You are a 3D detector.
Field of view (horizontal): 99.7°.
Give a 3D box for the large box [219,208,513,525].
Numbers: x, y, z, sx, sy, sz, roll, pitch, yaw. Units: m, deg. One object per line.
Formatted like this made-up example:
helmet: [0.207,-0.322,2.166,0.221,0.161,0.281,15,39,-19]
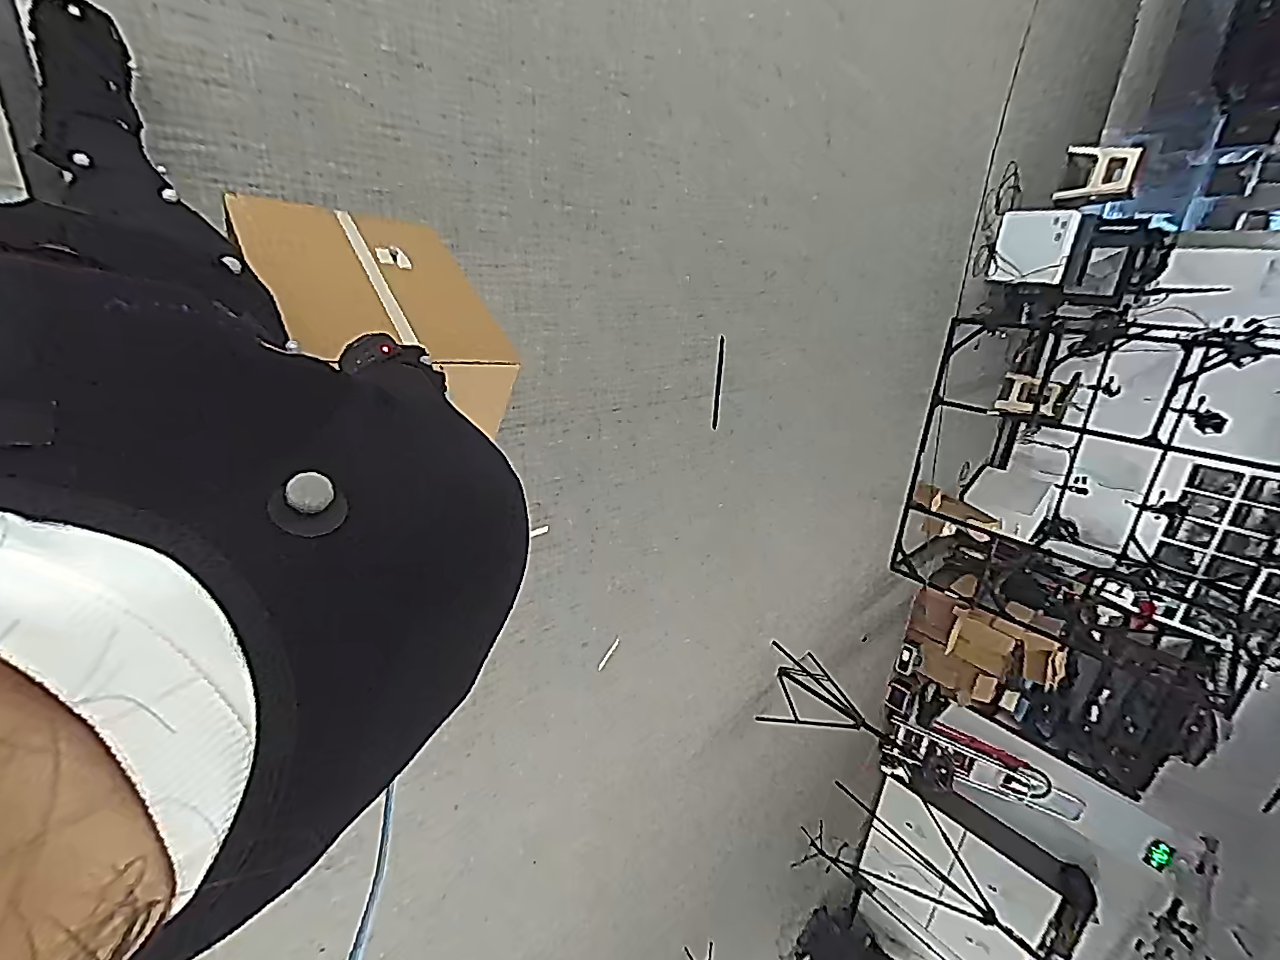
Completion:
large box: [-0.471,-0.190,0.912,0.320,0.408,0.320,-10,141,-42]
